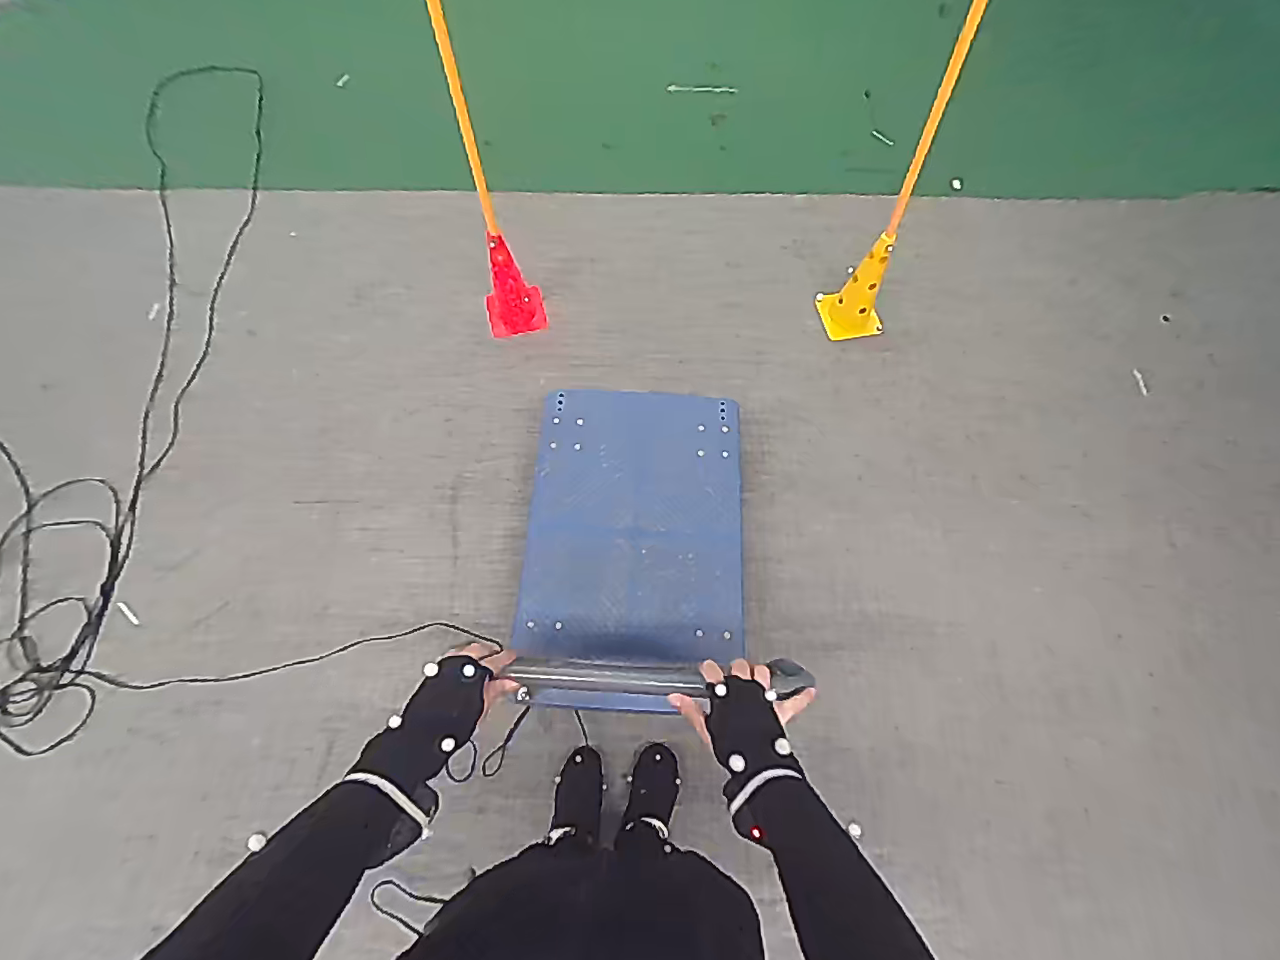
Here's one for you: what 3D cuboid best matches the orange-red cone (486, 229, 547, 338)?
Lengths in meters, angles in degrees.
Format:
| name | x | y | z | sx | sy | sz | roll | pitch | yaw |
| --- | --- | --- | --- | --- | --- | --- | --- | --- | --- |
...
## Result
| name | x | y | z | sx | sy | sz | roll | pitch | yaw |
| --- | --- | --- | --- | --- | --- | --- | --- | --- | --- |
| orange-red cone | -0.442 | -0.663 | 1.770 | 0.199 | 0.360 | 0.198 | -14 | 67 | -5 |
